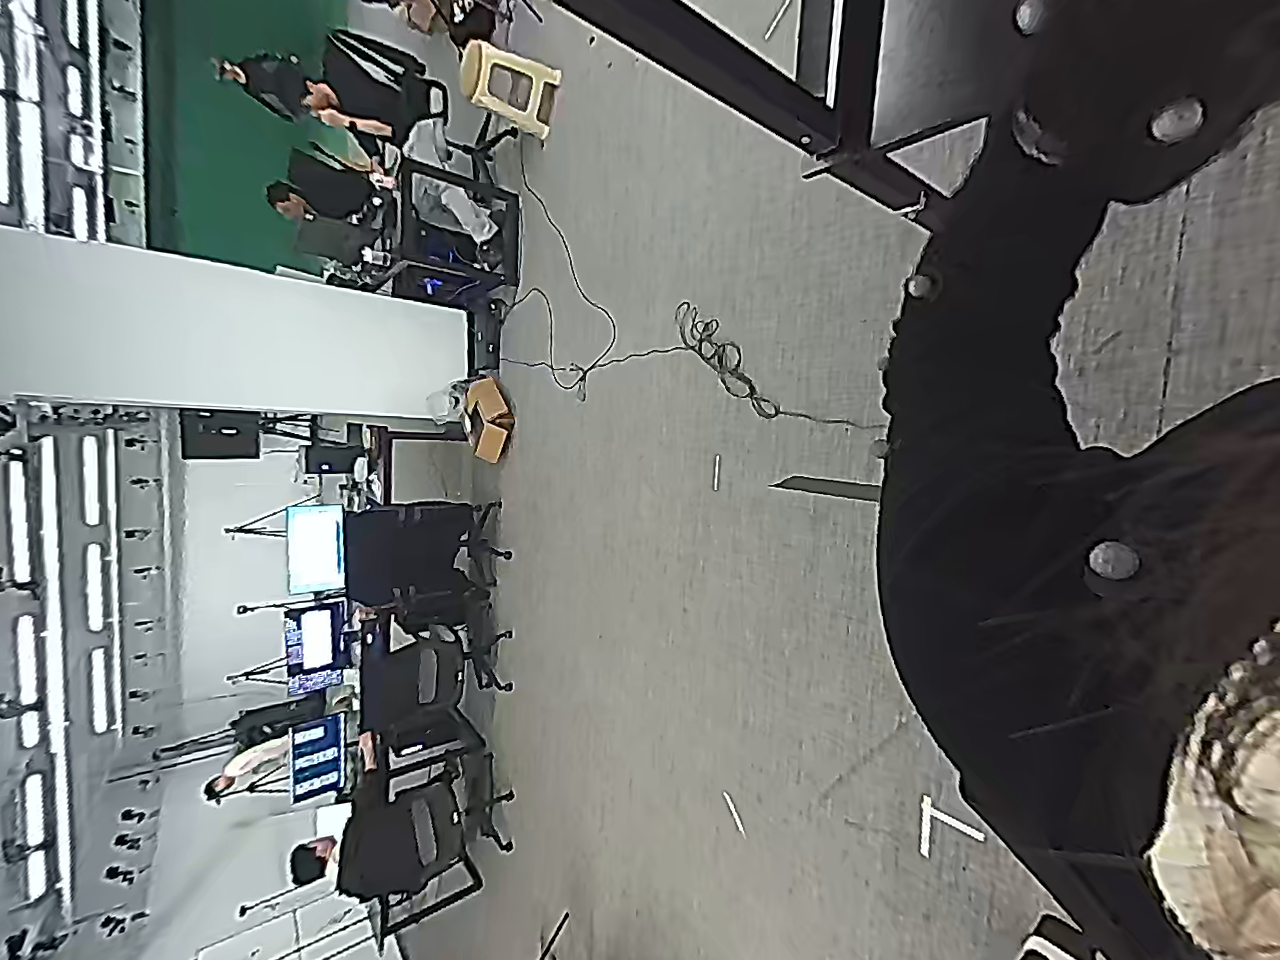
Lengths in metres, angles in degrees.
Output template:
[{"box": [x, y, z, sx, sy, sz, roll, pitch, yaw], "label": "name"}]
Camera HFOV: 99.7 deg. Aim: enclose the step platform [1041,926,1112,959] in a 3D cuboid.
[{"box": [1.095, 1.221, 0.967, 0.684, 0.204, 0.286, 19, 105, 50], "label": "step platform"}]
